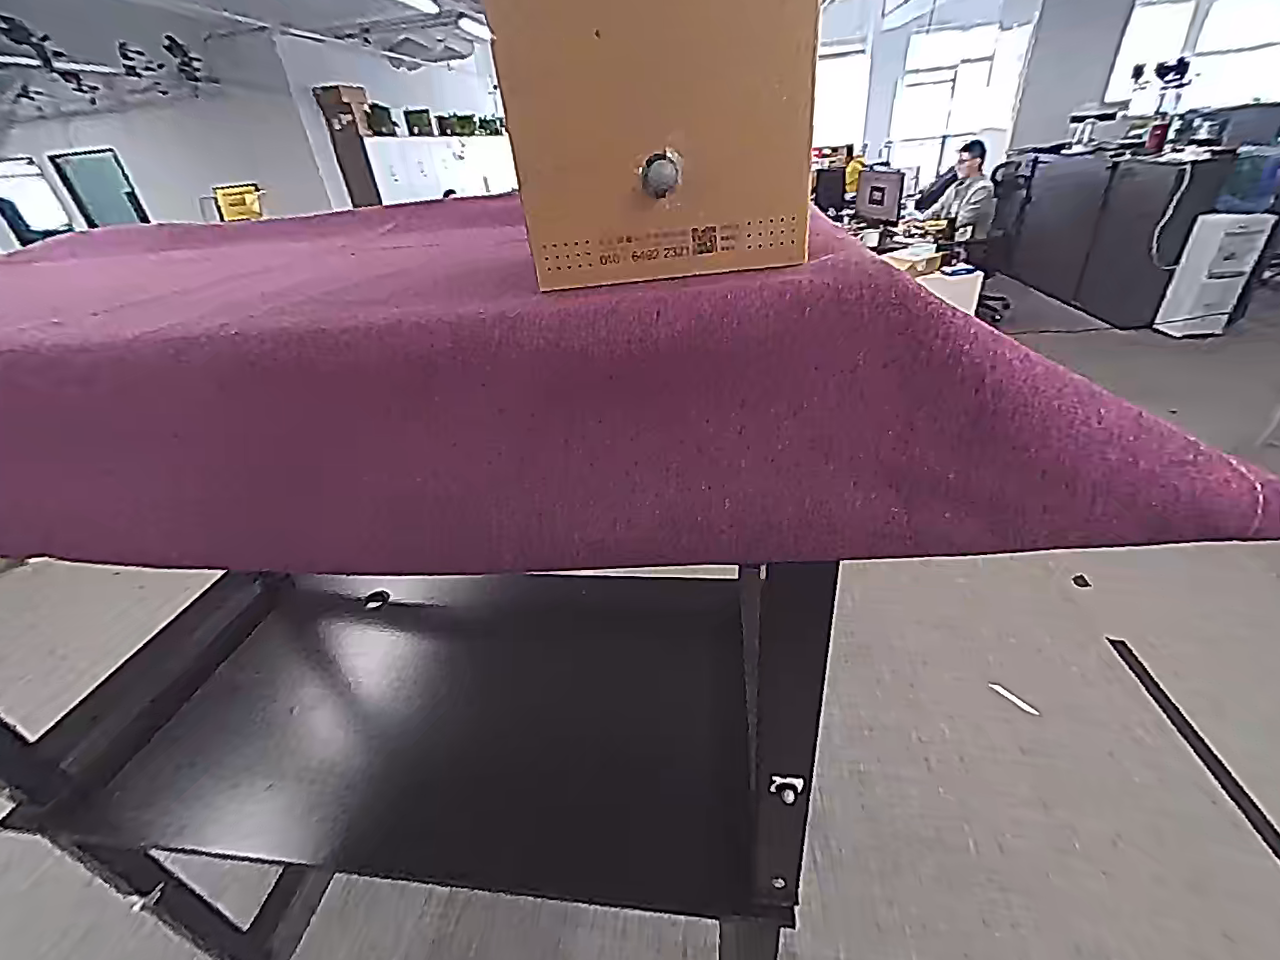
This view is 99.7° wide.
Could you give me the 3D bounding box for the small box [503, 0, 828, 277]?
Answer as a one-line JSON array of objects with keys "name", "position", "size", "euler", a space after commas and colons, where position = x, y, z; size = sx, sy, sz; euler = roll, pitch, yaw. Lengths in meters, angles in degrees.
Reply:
[{"name": "small box", "position": [0.016, -0.238, 0.359], "size": [0.168, 0.176, 0.179], "euler": [-5, 31, 3]}]
